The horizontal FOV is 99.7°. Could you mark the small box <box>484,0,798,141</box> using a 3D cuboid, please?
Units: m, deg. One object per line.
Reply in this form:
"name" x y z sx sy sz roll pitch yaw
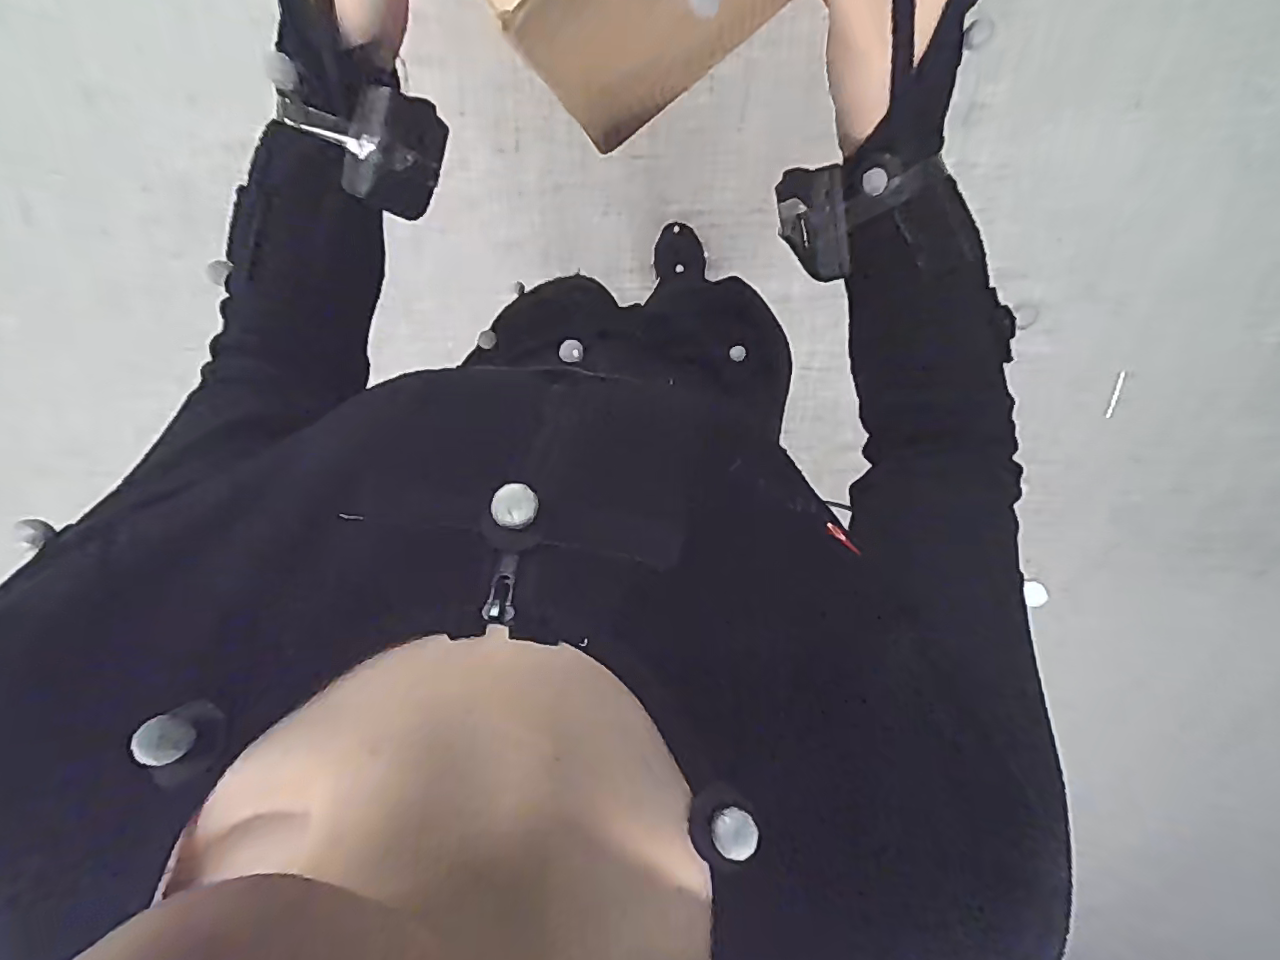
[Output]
"small box" -0.006 -0.287 0.225 0.179 0.176 0.168 -31 100 17
